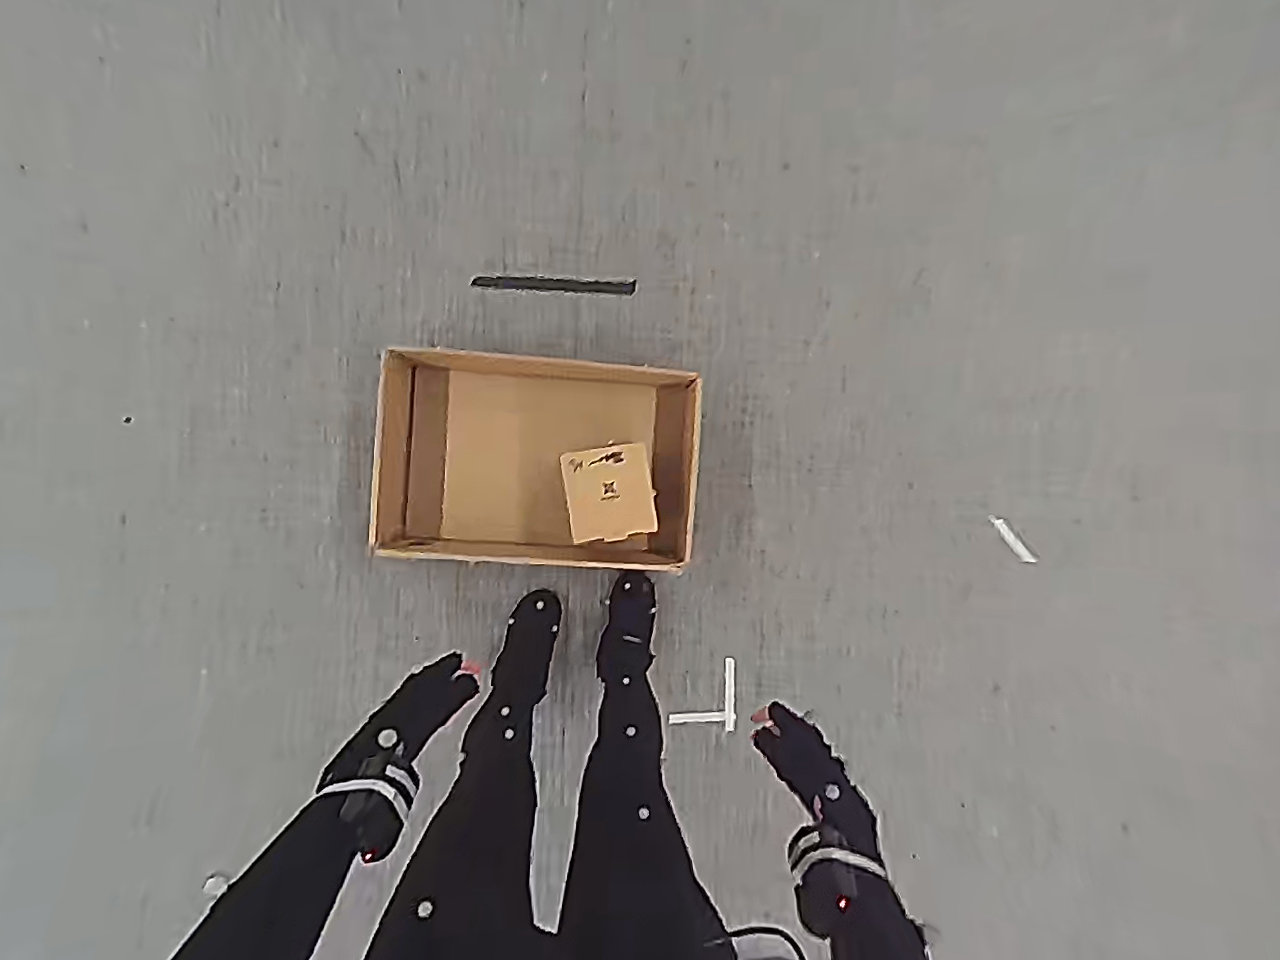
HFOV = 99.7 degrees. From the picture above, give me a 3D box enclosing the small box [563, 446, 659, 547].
[{"bbox_3d":[-0.058,0.029,1.101,0.168,0.176,0.179,-9,91,-4],"label":"small box"}]
